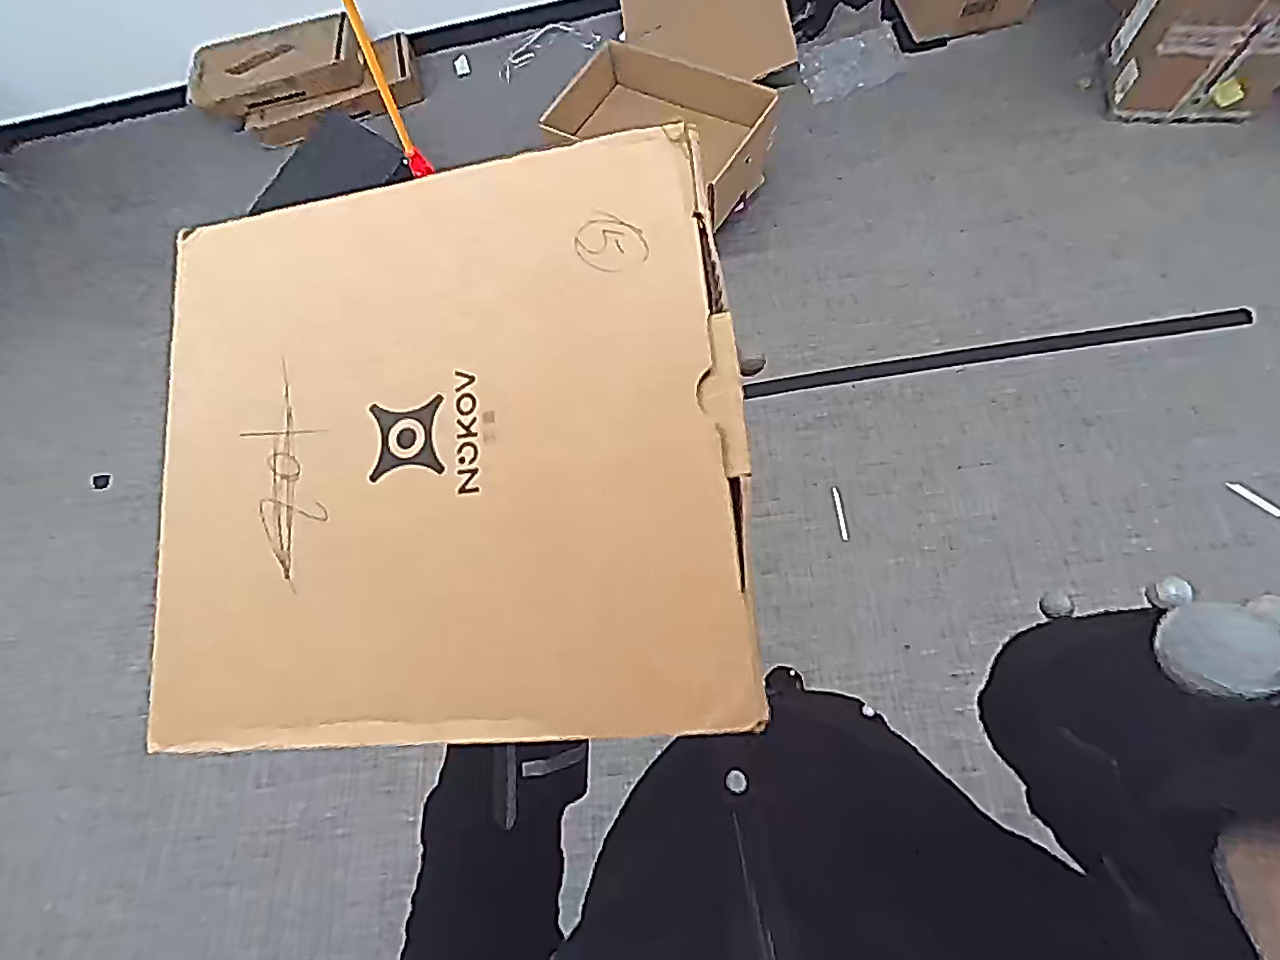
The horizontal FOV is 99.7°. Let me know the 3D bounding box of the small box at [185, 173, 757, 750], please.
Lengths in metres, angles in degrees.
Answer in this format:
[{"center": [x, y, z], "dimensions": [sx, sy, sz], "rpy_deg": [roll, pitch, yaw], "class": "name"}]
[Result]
[{"center": [-0.046, 0.007, 0.243], "dimensions": [0.179, 0.176, 0.168], "rpy_deg": [-6, 79, 11], "class": "small box"}]
